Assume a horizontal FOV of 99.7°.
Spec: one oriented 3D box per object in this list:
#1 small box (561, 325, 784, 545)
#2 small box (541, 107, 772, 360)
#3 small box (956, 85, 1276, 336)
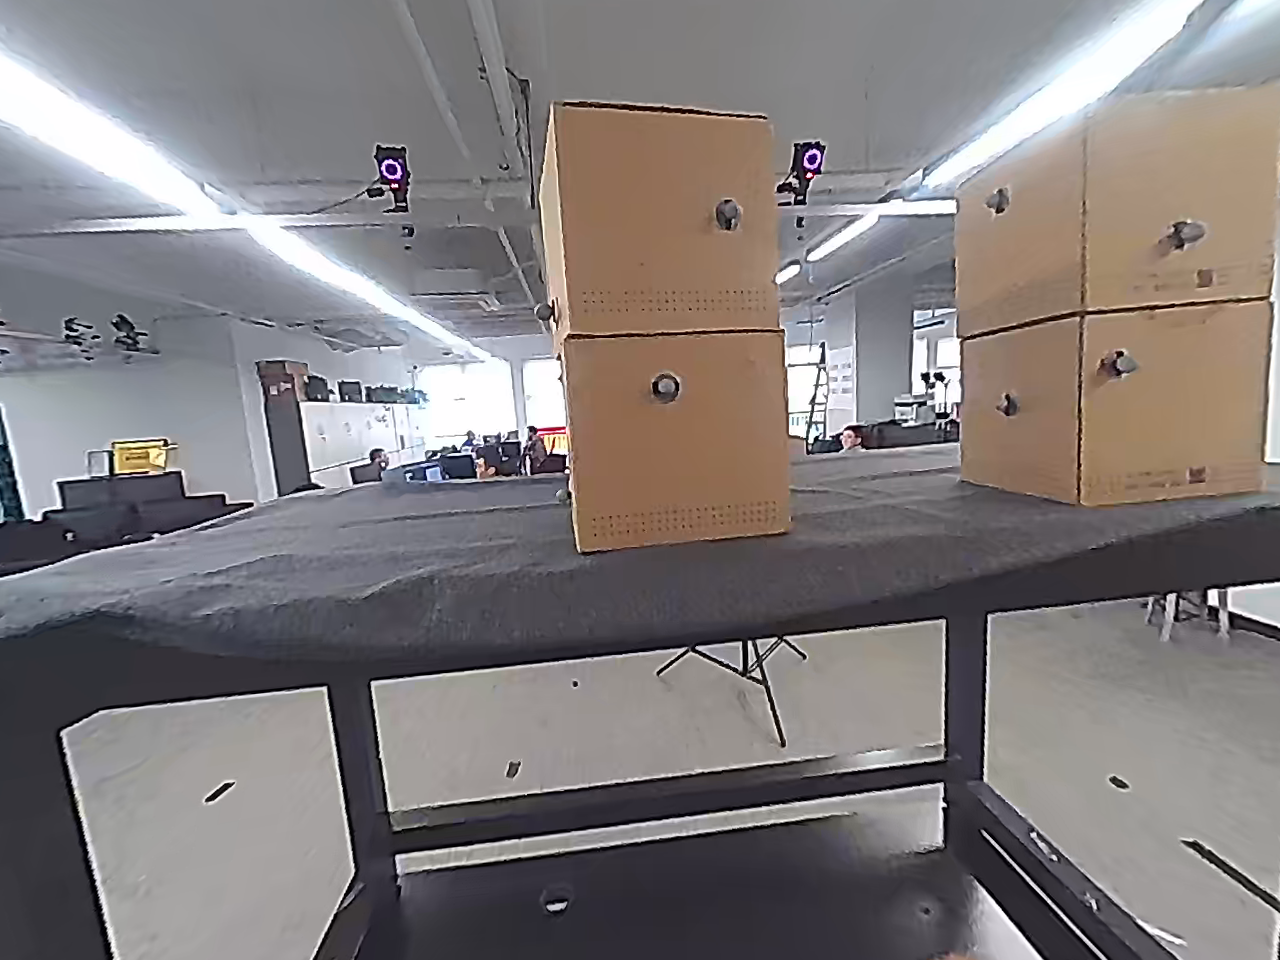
[{"bbox_3d":[0.022,-0.040,0.503,0.179,0.176,0.168,-4,7,-8],"label":"small box"},{"bbox_3d":[0.007,-0.201,0.493,0.179,0.176,0.168,-6,6,-13],"label":"small box"},{"bbox_3d":[0.437,-0.239,0.527,0.168,0.176,0.179,-5,7,-1],"label":"small box"}]
